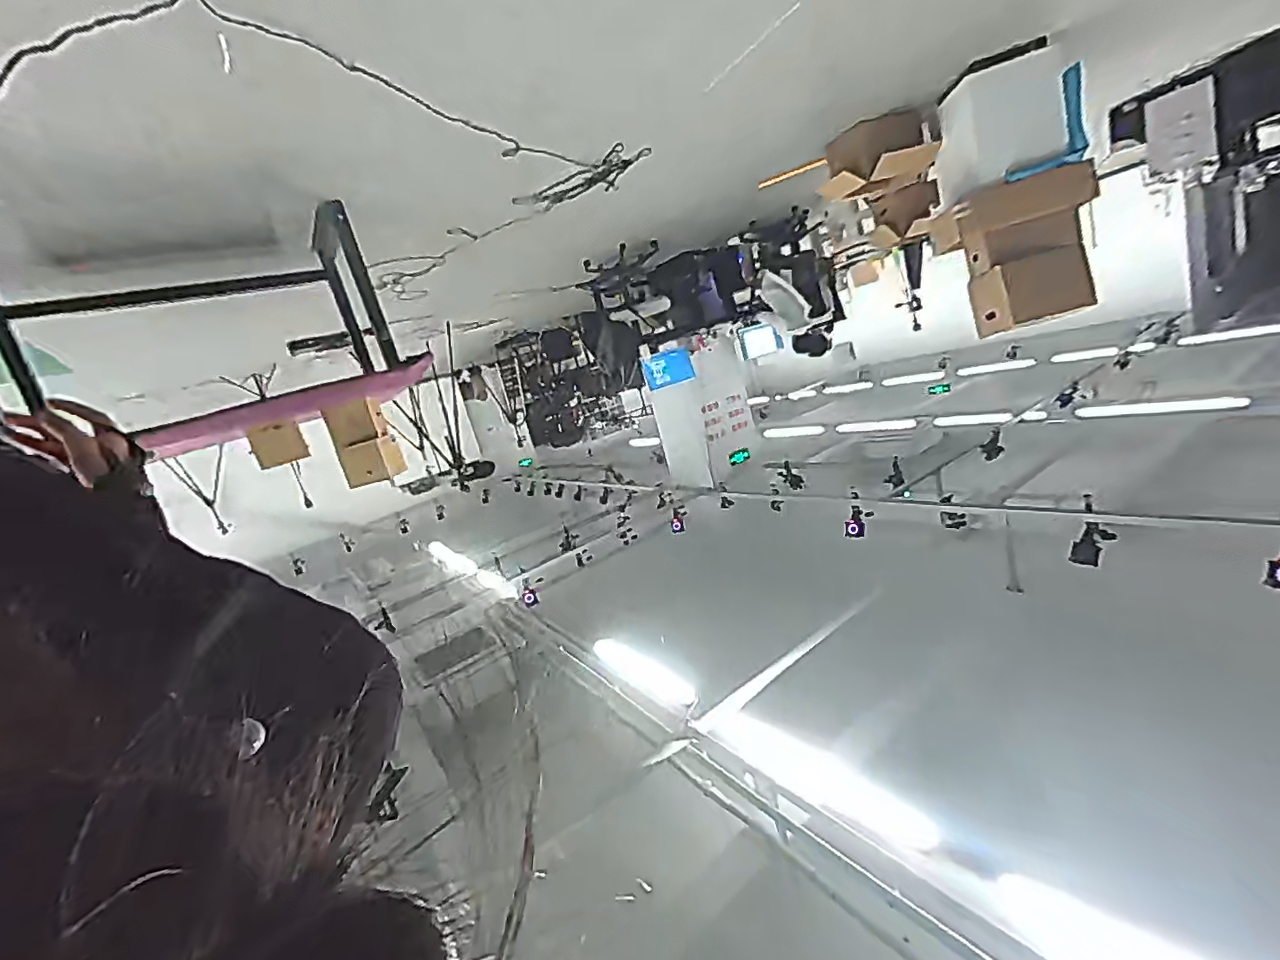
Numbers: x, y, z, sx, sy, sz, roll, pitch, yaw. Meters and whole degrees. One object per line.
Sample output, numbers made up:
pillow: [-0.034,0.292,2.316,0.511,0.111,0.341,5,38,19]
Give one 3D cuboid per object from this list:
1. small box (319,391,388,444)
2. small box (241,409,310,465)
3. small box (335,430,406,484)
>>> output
small box: [-1.147,-0.256,2.173,0.179,0.176,0.168,-18,-168,-8]
small box: [-1.365,-0.162,2.022,0.168,0.176,0.179,-25,-164,-33]
small box: [-1.093,-0.101,2.196,0.179,0.176,0.168,-14,-168,4]
